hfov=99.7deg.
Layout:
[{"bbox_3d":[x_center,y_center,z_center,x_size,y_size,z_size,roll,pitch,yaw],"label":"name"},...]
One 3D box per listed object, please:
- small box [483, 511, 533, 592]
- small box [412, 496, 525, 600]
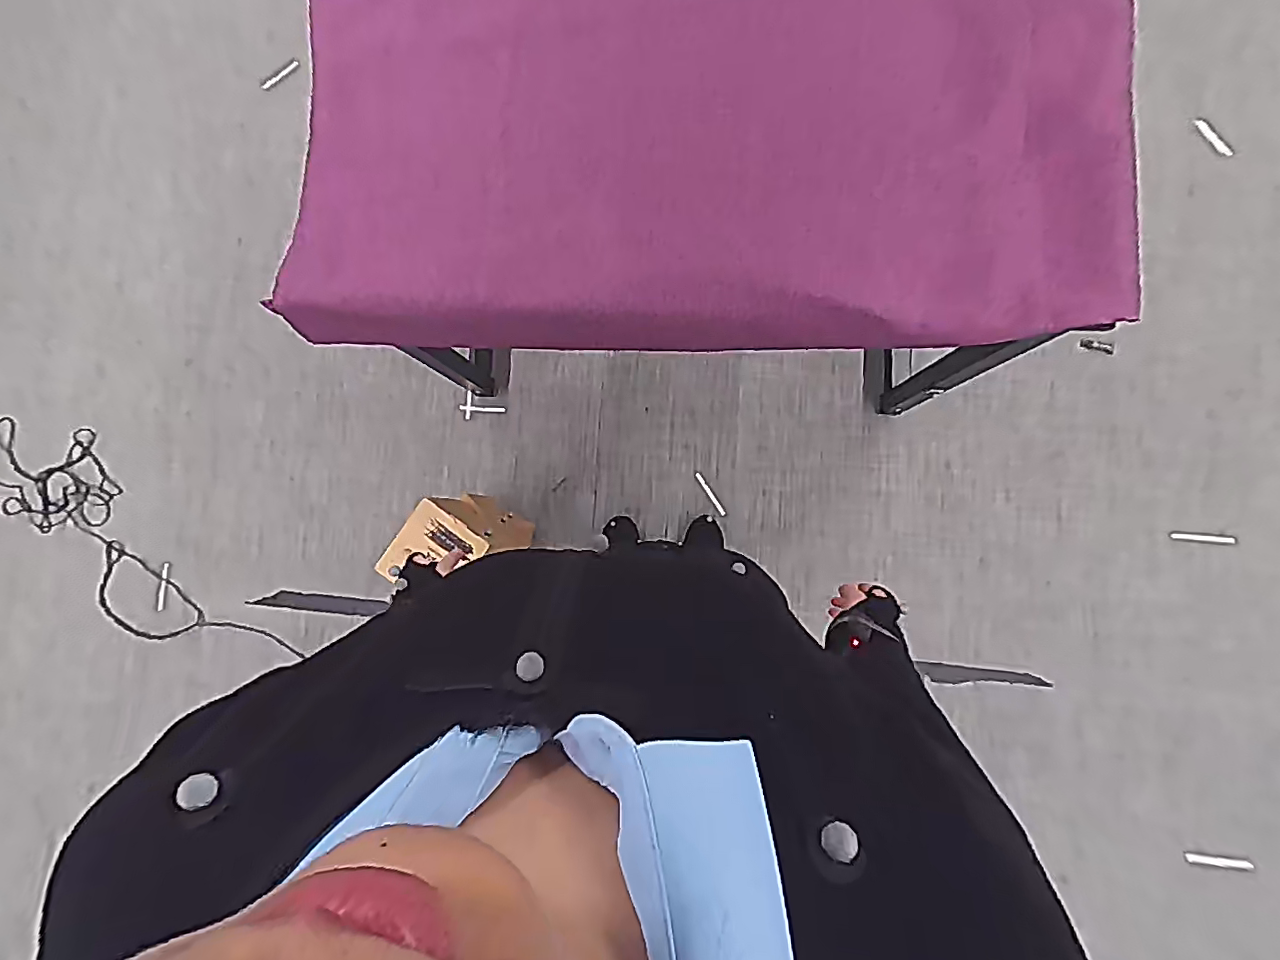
[{"bbox_3d":[-0.407,0.178,1.454,0.168,0.176,0.179,26,87,5],"label":"small box"},{"bbox_3d":[-0.395,0.157,1.289,0.179,0.176,0.168,-42,84,-1],"label":"small box"}]
